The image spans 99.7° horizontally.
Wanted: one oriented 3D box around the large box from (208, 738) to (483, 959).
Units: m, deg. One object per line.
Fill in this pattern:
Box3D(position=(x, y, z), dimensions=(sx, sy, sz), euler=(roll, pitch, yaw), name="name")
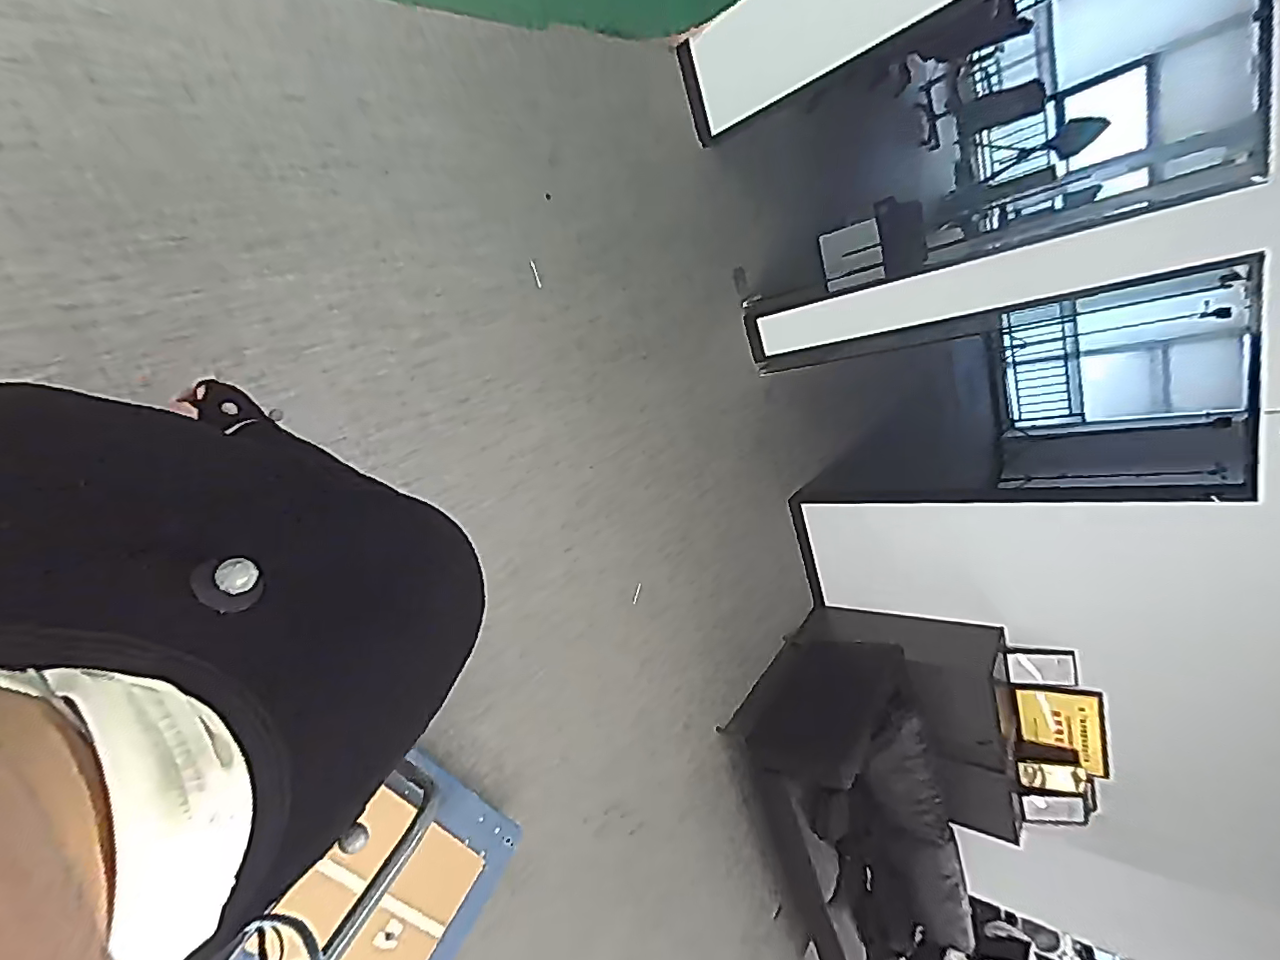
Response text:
Box3D(position=(-0.658, 0.870, 1.241), dimensions=(0.320, 0.320, 0.408), euler=(-53, 126, -35), name="large box")
